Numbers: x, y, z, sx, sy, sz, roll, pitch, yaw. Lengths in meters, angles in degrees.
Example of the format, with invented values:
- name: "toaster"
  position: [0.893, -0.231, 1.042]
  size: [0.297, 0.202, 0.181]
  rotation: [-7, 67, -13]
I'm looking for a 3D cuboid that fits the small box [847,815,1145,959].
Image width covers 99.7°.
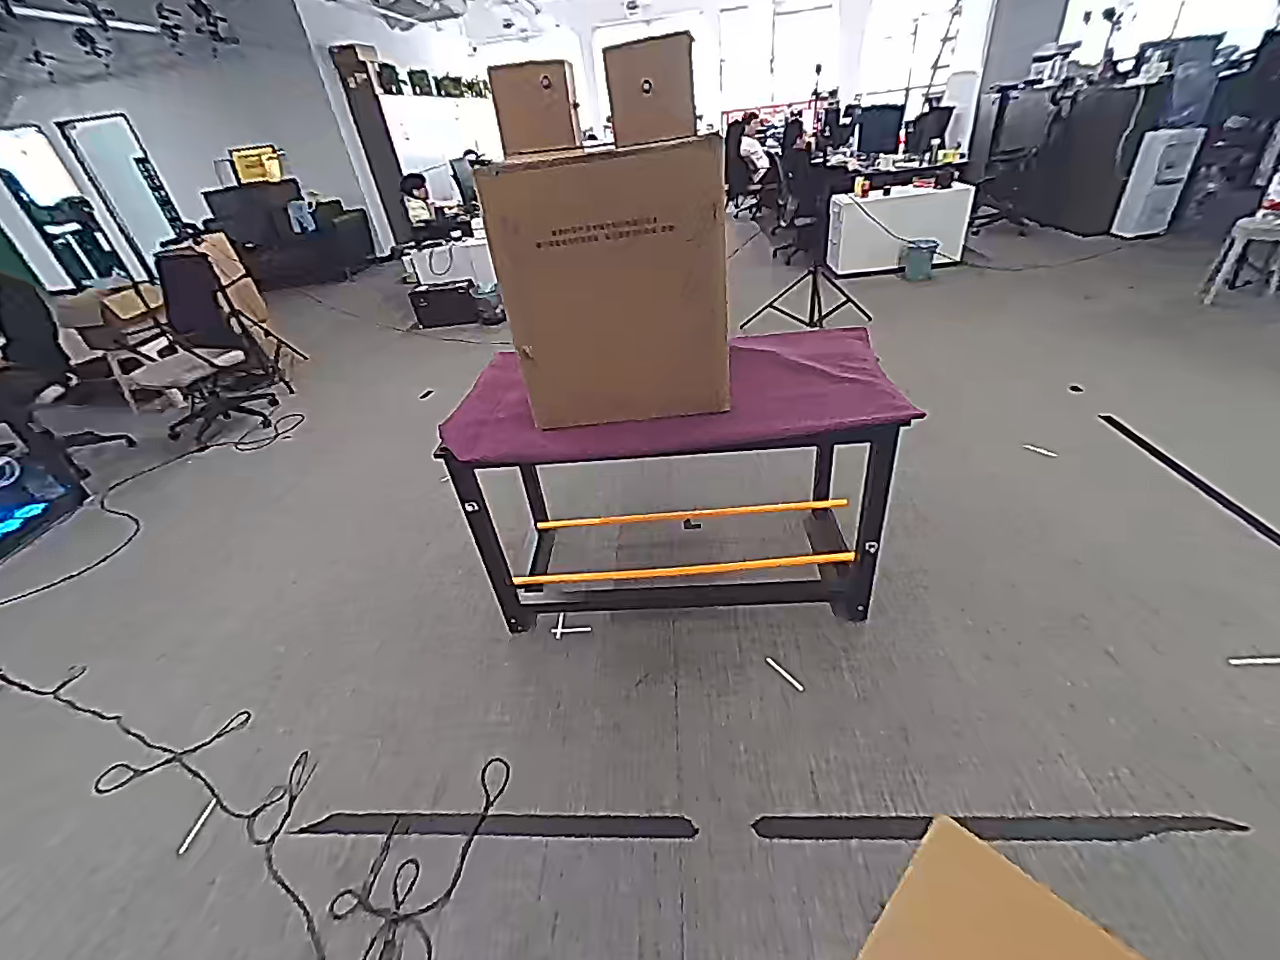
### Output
- name: "small box"
  position: [0.209, 0.346, 0.307]
  size: [0.168, 0.176, 0.179]
  rotation: [-41, 46, -24]
